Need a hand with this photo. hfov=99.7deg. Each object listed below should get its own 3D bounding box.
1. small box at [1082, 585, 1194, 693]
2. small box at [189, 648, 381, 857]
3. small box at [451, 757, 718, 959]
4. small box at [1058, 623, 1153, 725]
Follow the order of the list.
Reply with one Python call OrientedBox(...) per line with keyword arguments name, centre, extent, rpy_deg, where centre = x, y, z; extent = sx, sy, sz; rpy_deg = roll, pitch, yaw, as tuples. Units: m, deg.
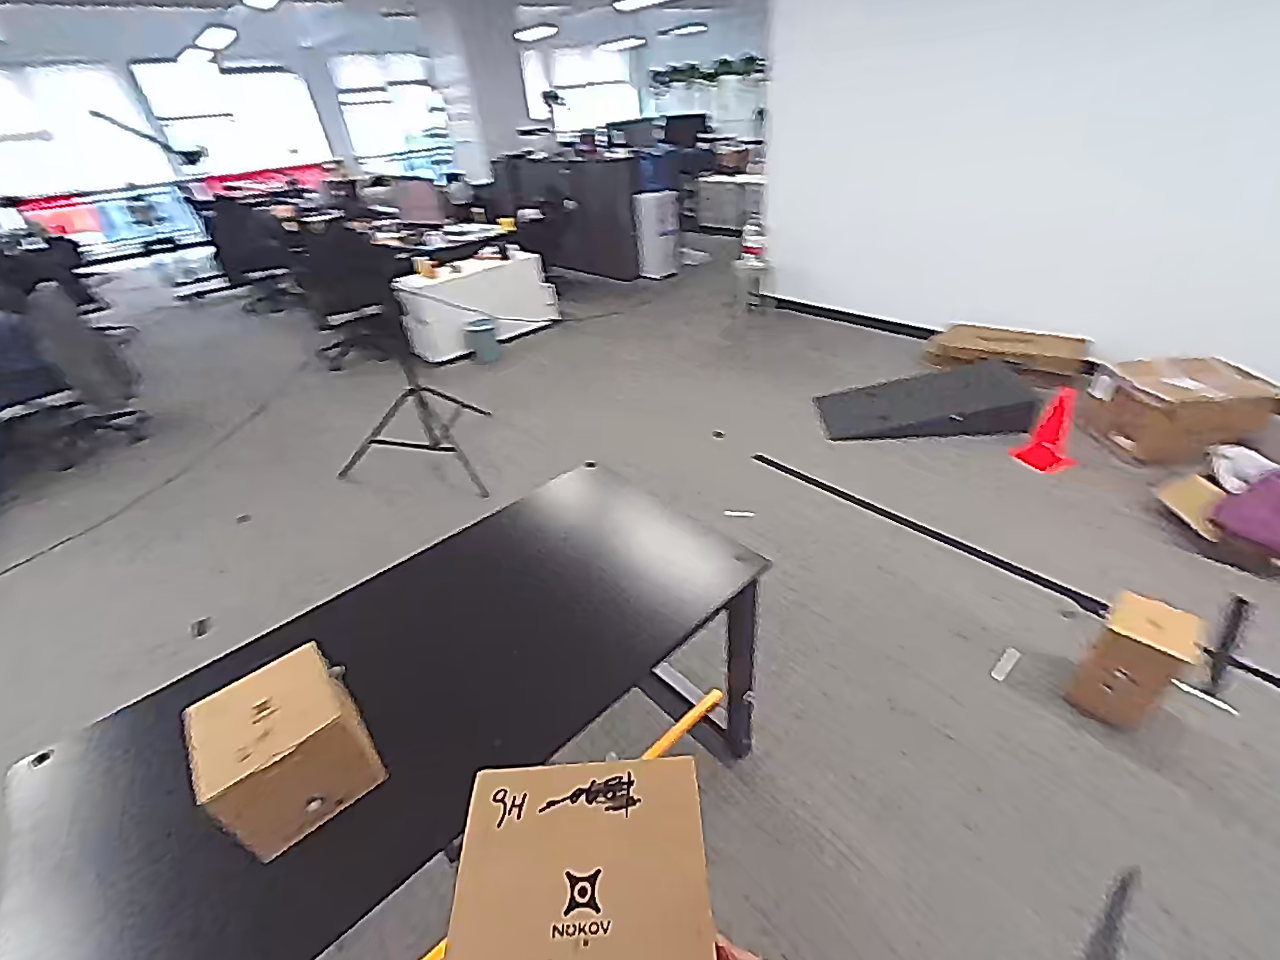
OrientedBox(name="small box", centre=(1.312, 0.420, 1.432), extent=(0.168, 0.176, 0.179), rpy_deg=(24, 47, 39))
OrientedBox(name="small box", centre=(-0.509, 0.391, 0.785), extent=(0.168, 0.176, 0.179), rpy_deg=(-30, 41, -29))
OrientedBox(name="small box", centre=(-0.028, 0.328, 0.397), extent=(0.168, 0.176, 0.179), rpy_deg=(-4, 44, 2))
OrientedBox(name="small box", centre=(1.327, 0.550, 1.528), extent=(0.168, 0.176, 0.179), rpy_deg=(-32, 43, -32))
